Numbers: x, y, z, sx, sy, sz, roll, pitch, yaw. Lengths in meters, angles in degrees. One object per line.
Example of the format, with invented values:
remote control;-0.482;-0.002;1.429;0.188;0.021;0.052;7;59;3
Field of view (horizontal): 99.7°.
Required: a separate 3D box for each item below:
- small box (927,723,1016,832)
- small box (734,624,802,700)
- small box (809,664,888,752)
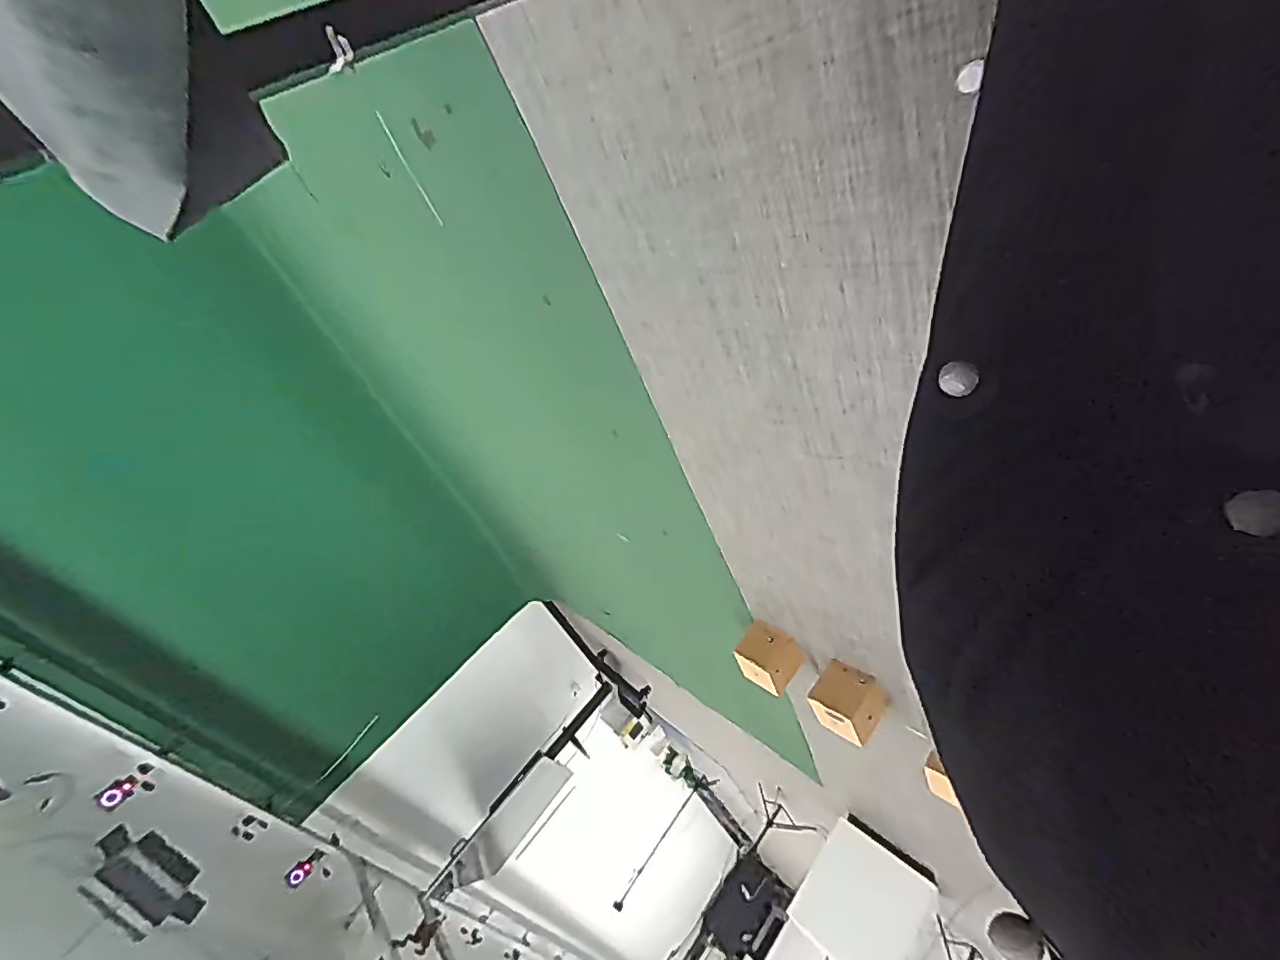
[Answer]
small box;0.931;0.826;1.513;0.168;0.176;0.179;15;141;48
small box;0.486;0.677;2.030;0.168;0.176;0.179;18;143;46
small box;0.693;0.747;1.791;0.168;0.176;0.179;15;141;51
